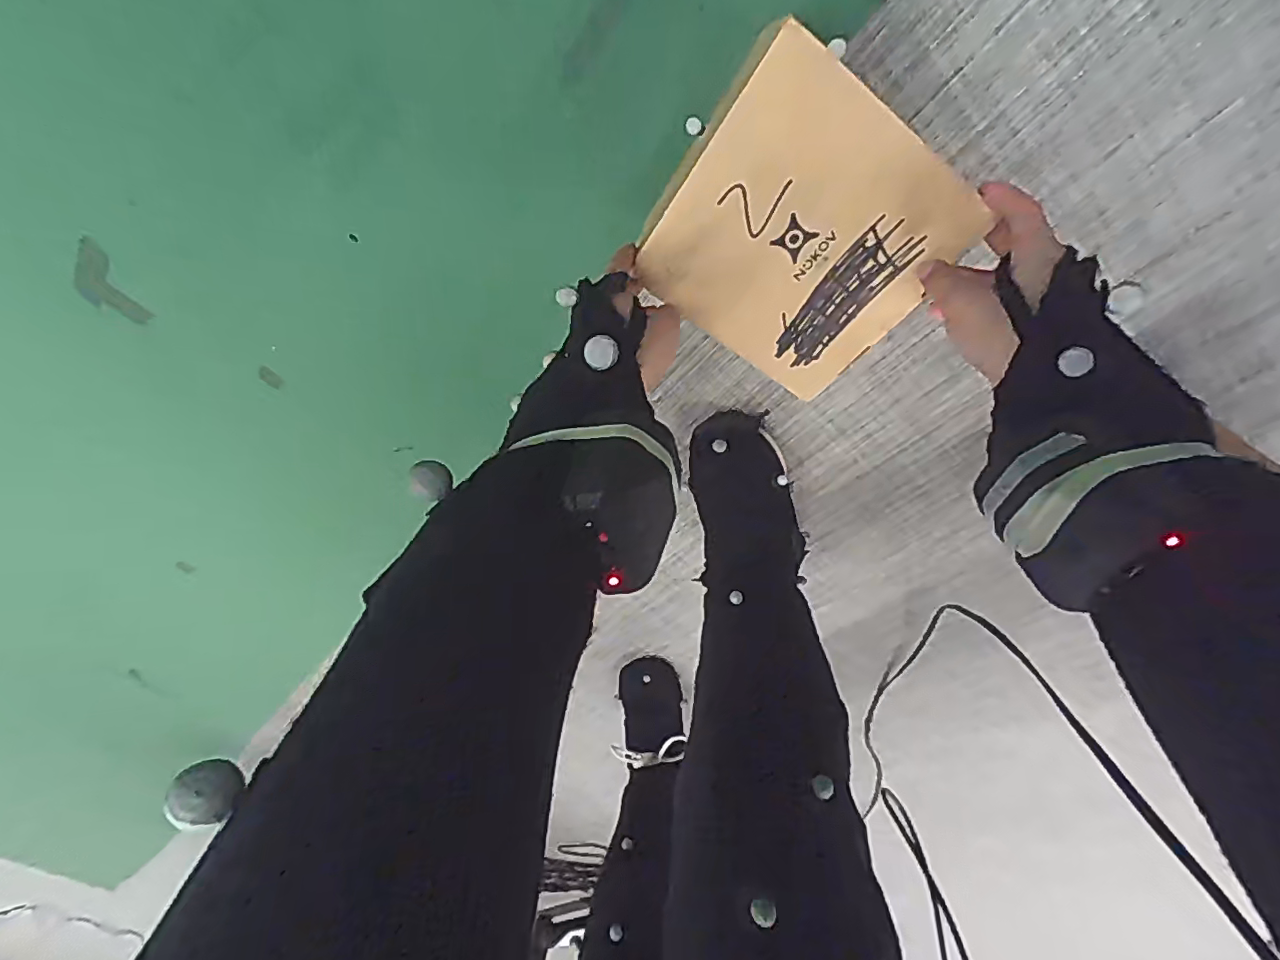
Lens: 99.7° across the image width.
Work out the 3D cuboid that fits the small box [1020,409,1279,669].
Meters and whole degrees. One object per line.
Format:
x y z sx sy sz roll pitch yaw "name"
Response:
0.550 0.059 0.562 0.168 0.176 0.179 40 123 -22 "small box"
